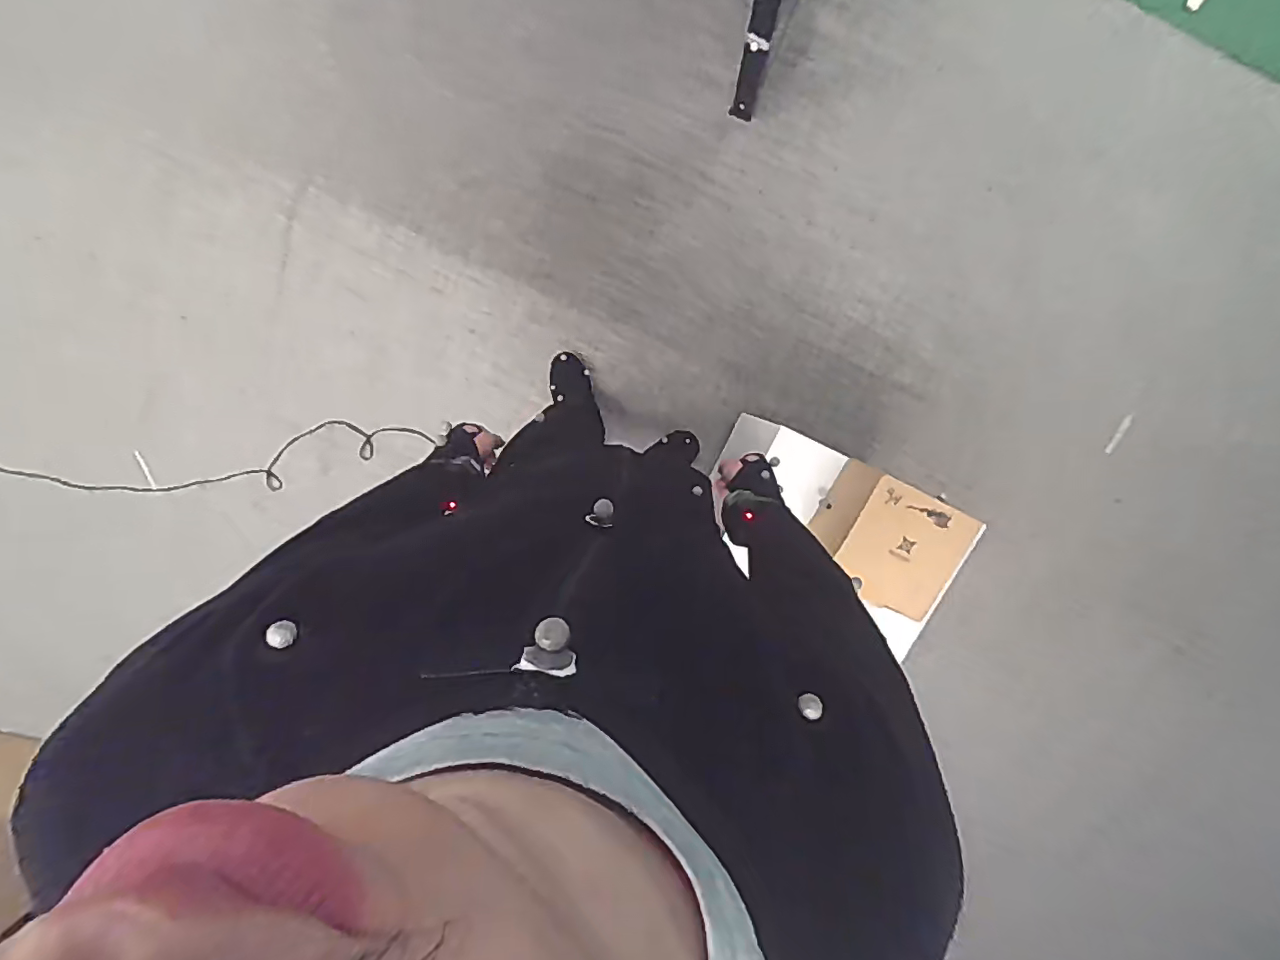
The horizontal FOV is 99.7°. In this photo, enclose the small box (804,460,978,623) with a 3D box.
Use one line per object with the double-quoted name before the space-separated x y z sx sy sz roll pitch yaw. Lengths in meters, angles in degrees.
"small box" 0.380 0.088 0.862 0.168 0.176 0.179 27 102 -1
